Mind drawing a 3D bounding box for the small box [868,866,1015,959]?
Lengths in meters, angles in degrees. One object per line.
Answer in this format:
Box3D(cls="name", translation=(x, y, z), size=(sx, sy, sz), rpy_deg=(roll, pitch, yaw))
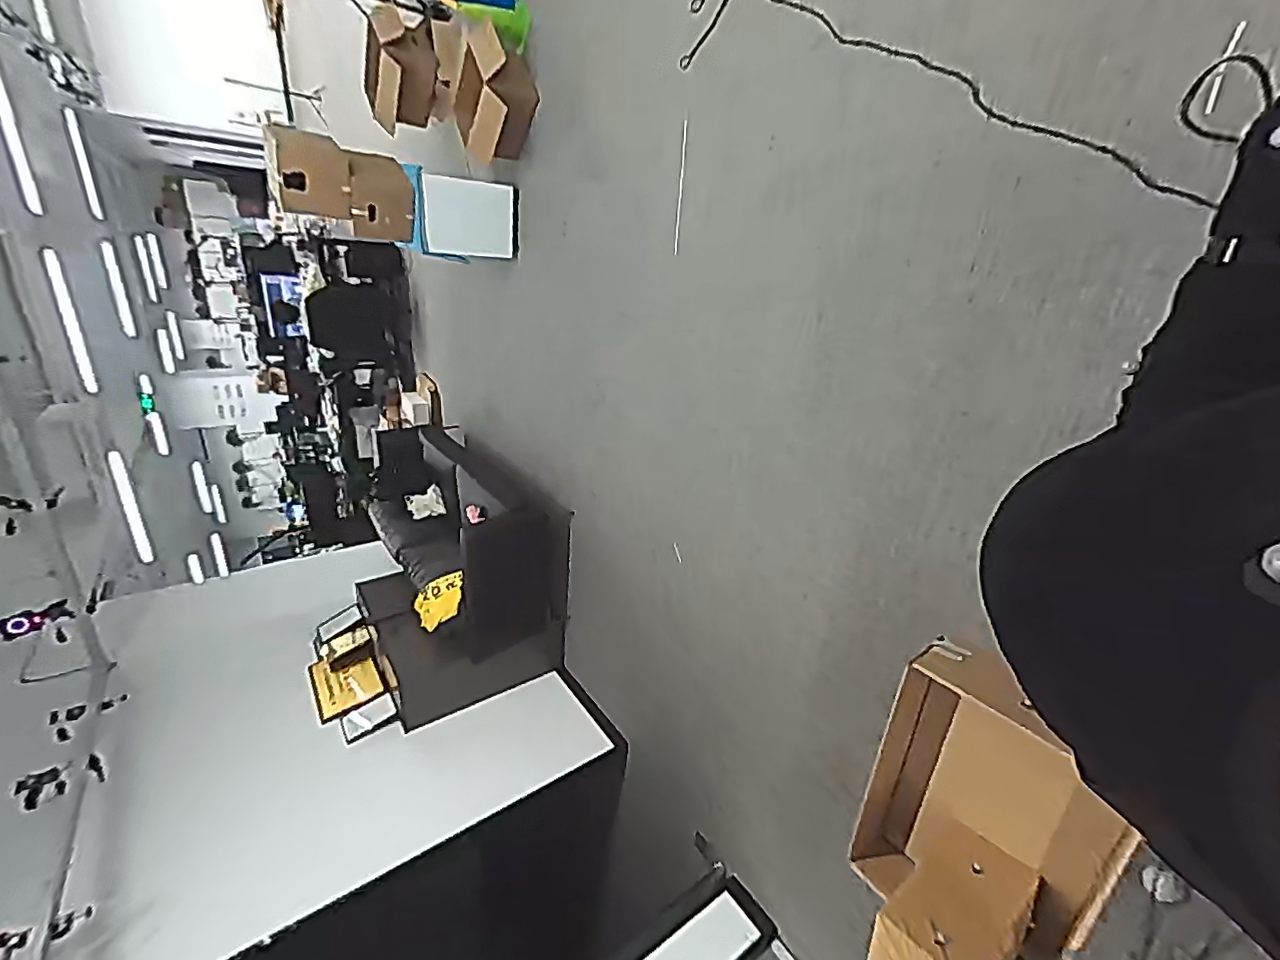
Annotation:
Box3D(cls="small box", translation=(0.570, 0.885, 1.029), size=(0.179, 0.176, 0.168), rpy_deg=(22, 117, 49))
